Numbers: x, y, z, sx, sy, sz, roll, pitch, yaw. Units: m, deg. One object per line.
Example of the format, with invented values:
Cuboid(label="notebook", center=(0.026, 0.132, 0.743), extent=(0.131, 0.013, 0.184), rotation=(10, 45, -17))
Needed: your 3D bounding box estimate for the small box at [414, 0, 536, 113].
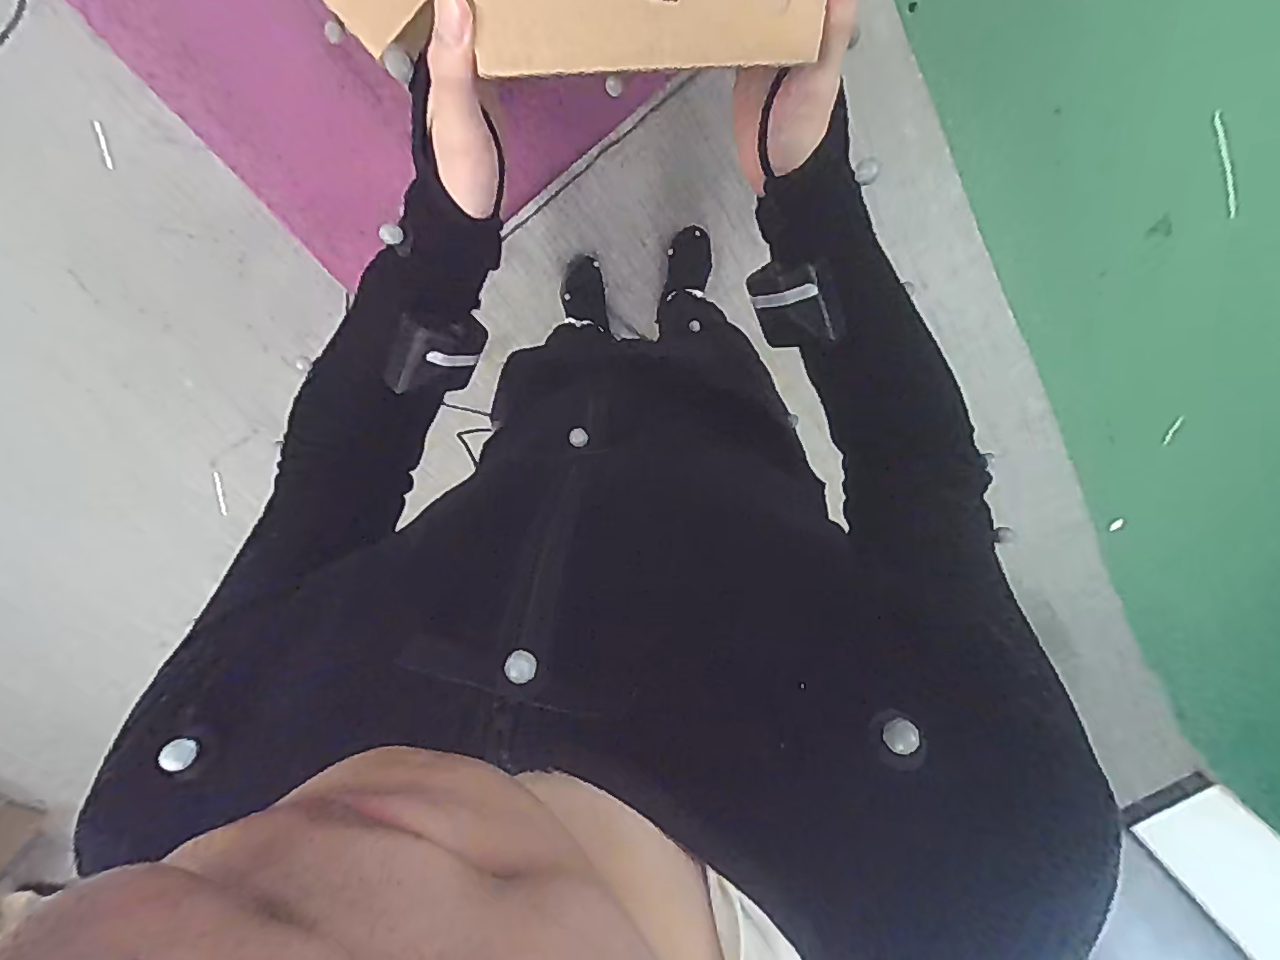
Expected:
Cuboid(label="small box", center=(-0.226, -0.520, 0.551), extent=(0.168, 0.176, 0.179), rotation=(-41, 112, 13))

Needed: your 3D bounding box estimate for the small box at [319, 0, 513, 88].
Cuboid(label="small box", center=(-0.195, -0.440, 0.409), extent=(0.168, 0.176, 0.179), rotation=(-41, 113, 11))
